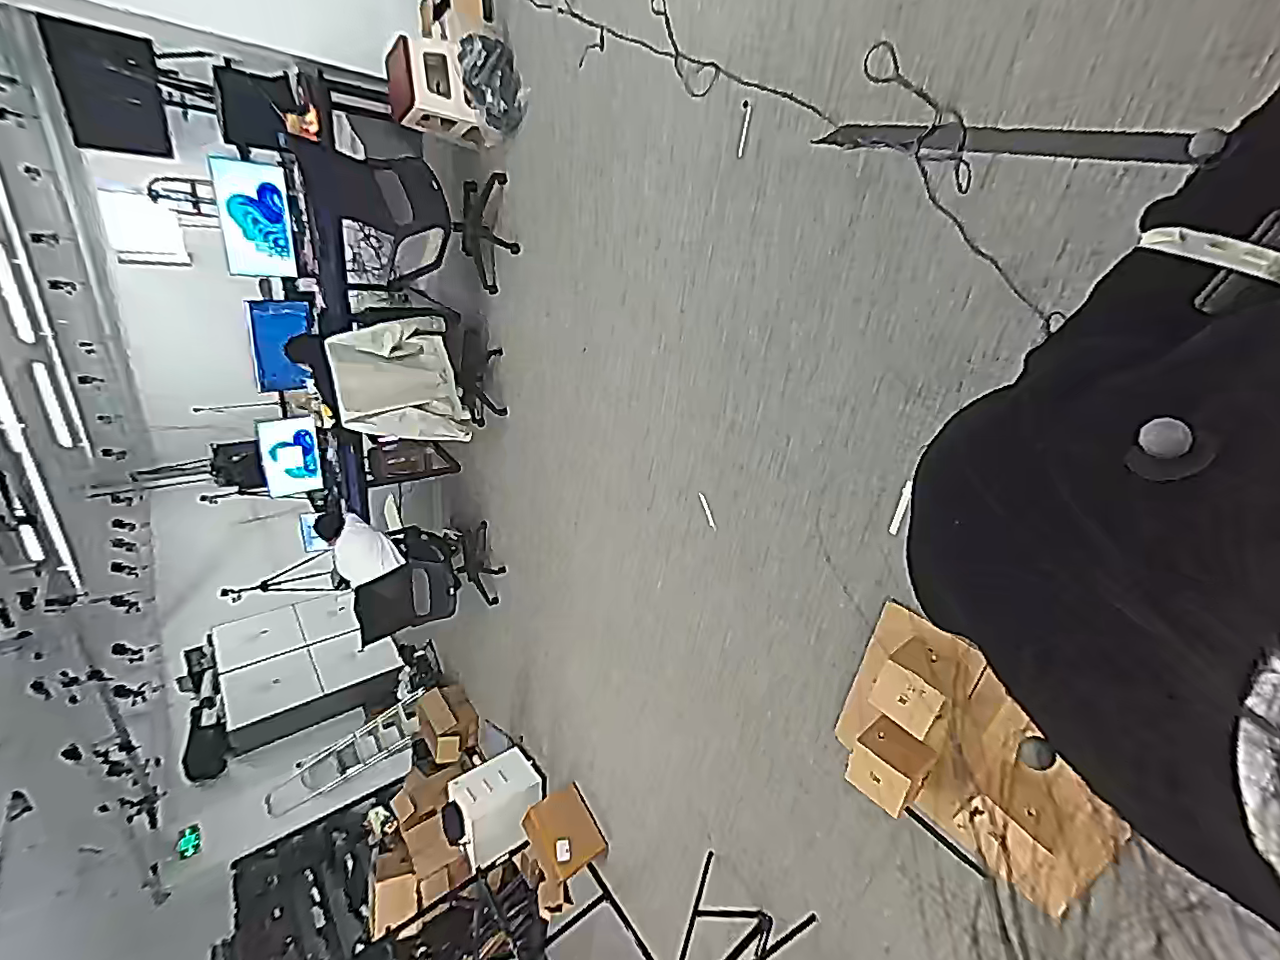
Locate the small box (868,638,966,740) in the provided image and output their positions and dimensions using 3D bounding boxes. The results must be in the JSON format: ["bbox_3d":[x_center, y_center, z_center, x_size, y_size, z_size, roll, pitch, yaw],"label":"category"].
[{"bbox_3d":[0.787,0.585,1.533,0.168,0.176,0.179,33,124,40],"label":"small box"}]

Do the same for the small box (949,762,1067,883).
[{"bbox_3d":[0.959,0.883,1.407,0.179,0.176,0.168,41,130,34],"label":"small box"}]

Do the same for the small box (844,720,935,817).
[{"bbox_3d":[0.762,0.869,1.653,0.179,0.176,0.168,28,123,44],"label":"small box"}]
